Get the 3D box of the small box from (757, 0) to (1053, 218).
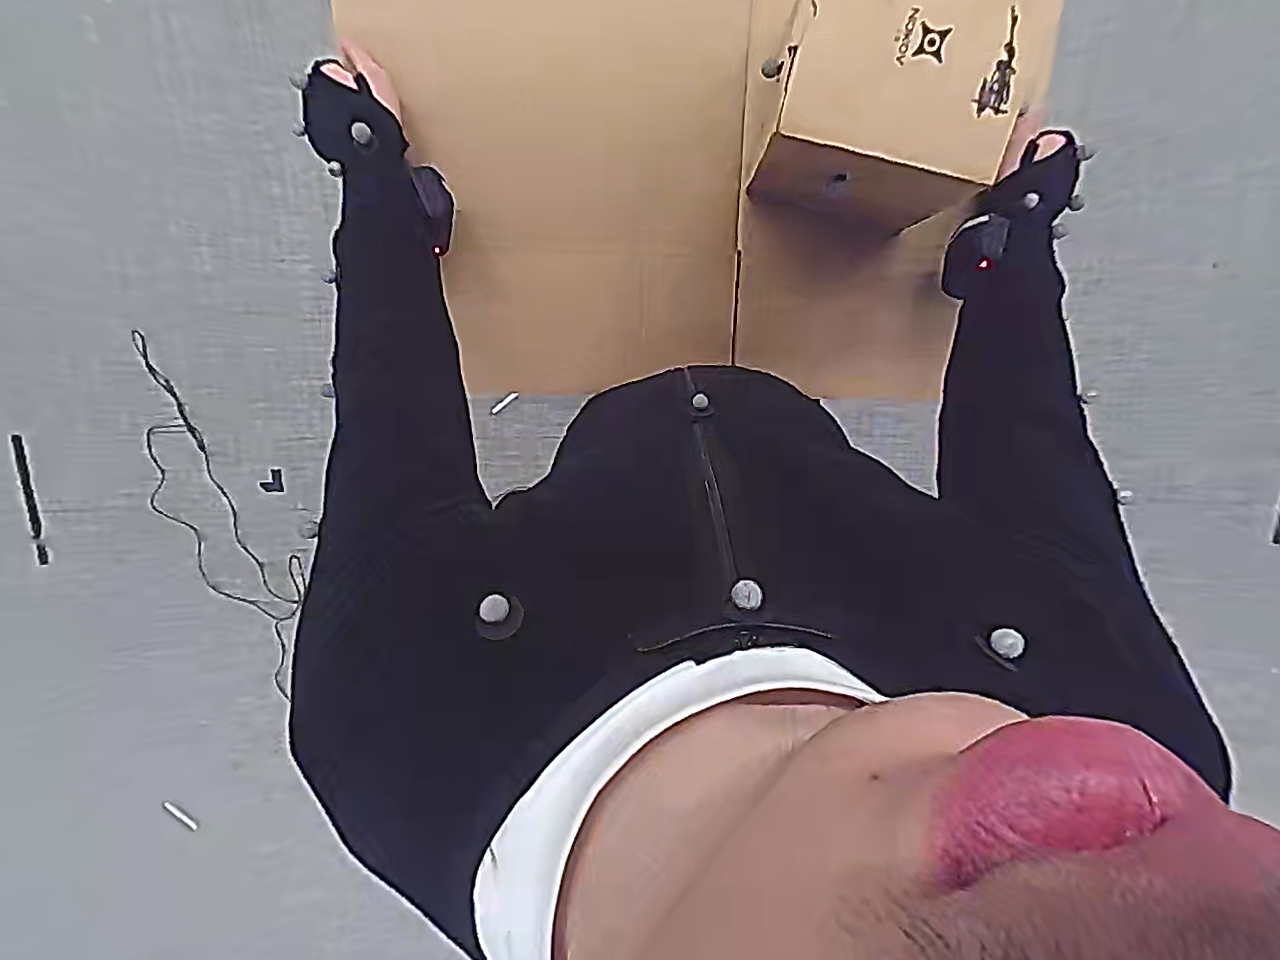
[{"bbox_3d":[0.214,-0.351,0.480,0.179,0.176,0.168,14,104,1],"label":"small box"}]
